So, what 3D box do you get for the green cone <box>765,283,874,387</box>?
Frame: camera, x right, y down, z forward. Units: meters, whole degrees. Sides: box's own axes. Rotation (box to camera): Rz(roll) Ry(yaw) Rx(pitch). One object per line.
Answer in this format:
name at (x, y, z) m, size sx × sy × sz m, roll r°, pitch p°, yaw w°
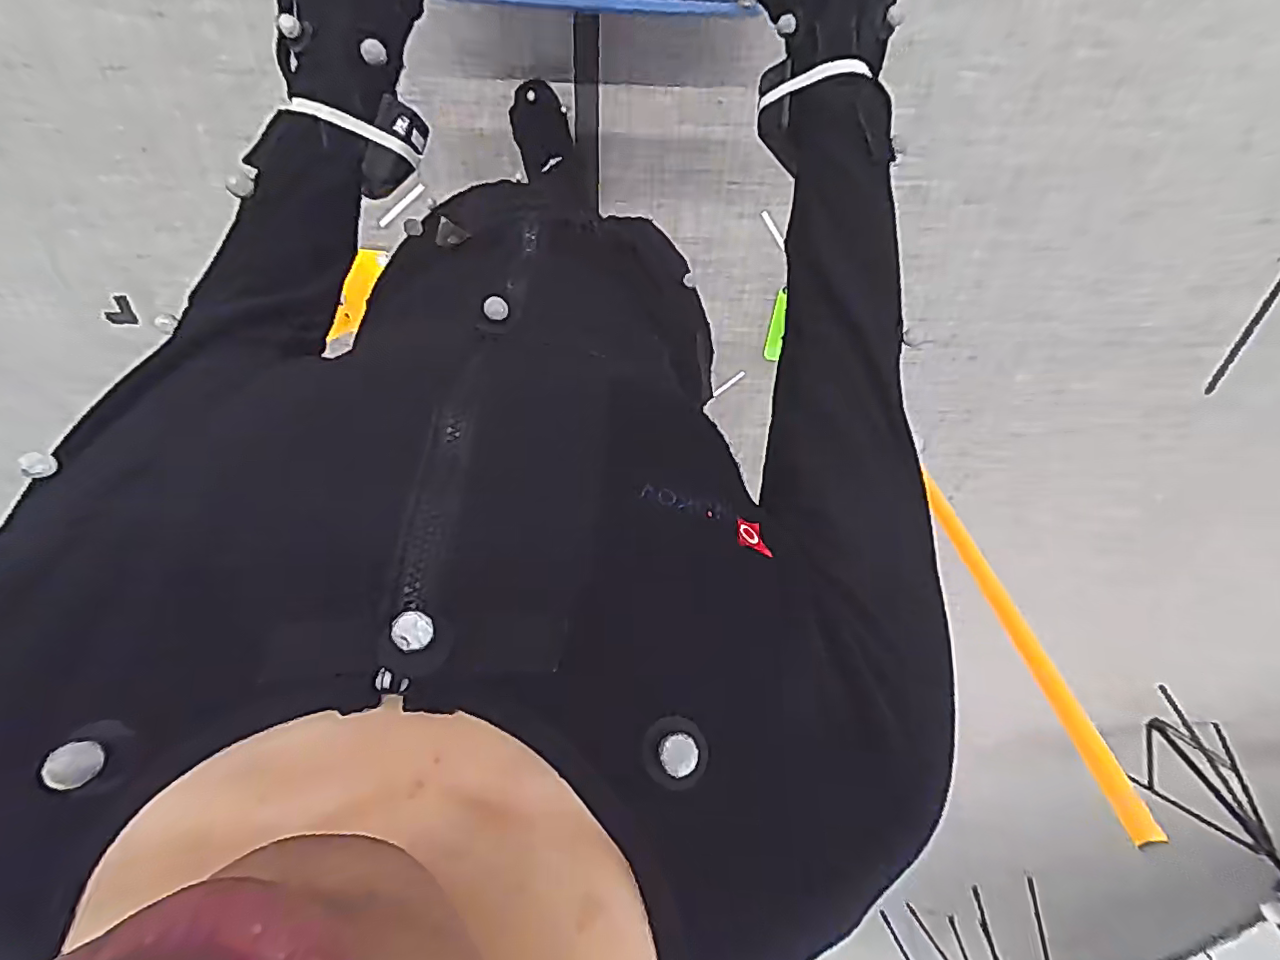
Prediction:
green cone at (0.454, -0.313, 1.284) m, size 0.202 × 0.368 × 0.200 m, roll 2°, pitch 125°, yaw -7°
